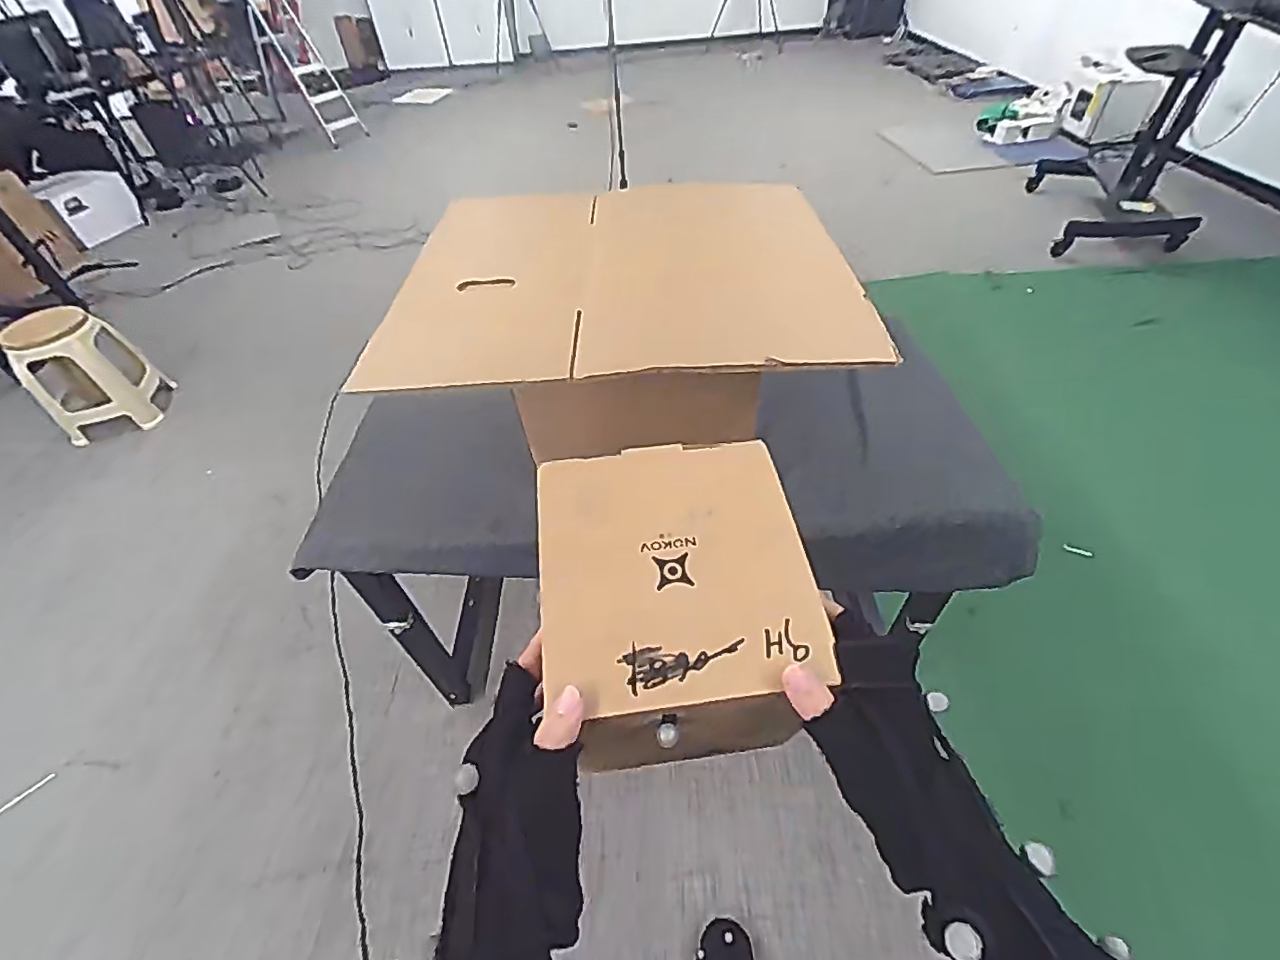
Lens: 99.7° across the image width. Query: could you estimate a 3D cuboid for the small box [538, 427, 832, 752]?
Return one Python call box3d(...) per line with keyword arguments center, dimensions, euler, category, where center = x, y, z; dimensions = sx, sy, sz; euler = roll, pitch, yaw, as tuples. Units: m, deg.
box3d(center=(0.018, 0.086, 0.408), dimensions=(0.168, 0.176, 0.179), euler=(-7, 54, -3), category="small box")
